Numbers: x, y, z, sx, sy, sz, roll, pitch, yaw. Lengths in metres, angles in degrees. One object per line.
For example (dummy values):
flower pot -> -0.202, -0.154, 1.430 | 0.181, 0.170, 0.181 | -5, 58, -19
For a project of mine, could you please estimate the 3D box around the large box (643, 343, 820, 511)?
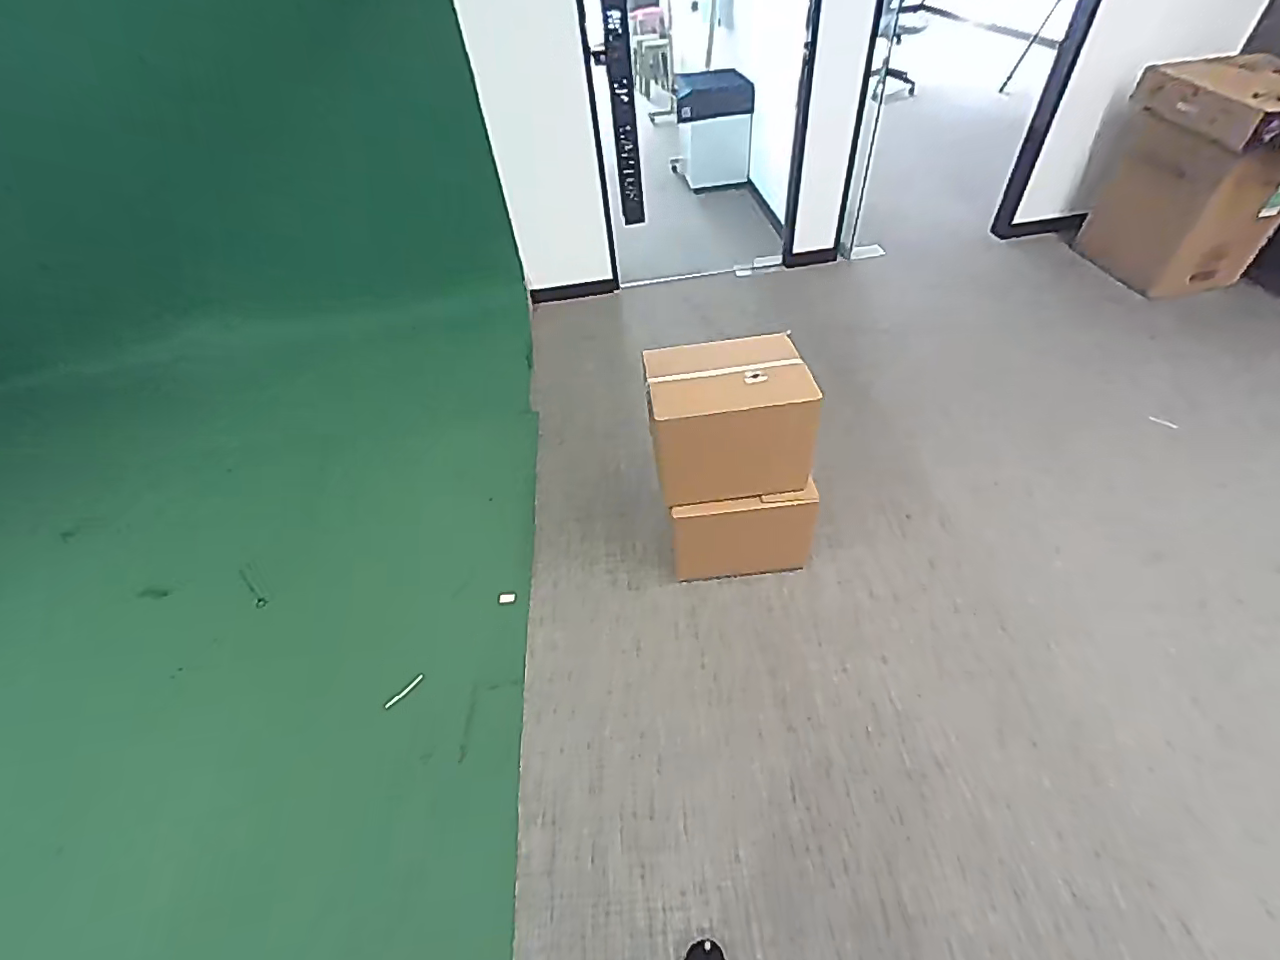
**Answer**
large box -> 0.230, -0.146, 1.485 | 0.408, 0.320, 0.320 | -7, 43, 0
